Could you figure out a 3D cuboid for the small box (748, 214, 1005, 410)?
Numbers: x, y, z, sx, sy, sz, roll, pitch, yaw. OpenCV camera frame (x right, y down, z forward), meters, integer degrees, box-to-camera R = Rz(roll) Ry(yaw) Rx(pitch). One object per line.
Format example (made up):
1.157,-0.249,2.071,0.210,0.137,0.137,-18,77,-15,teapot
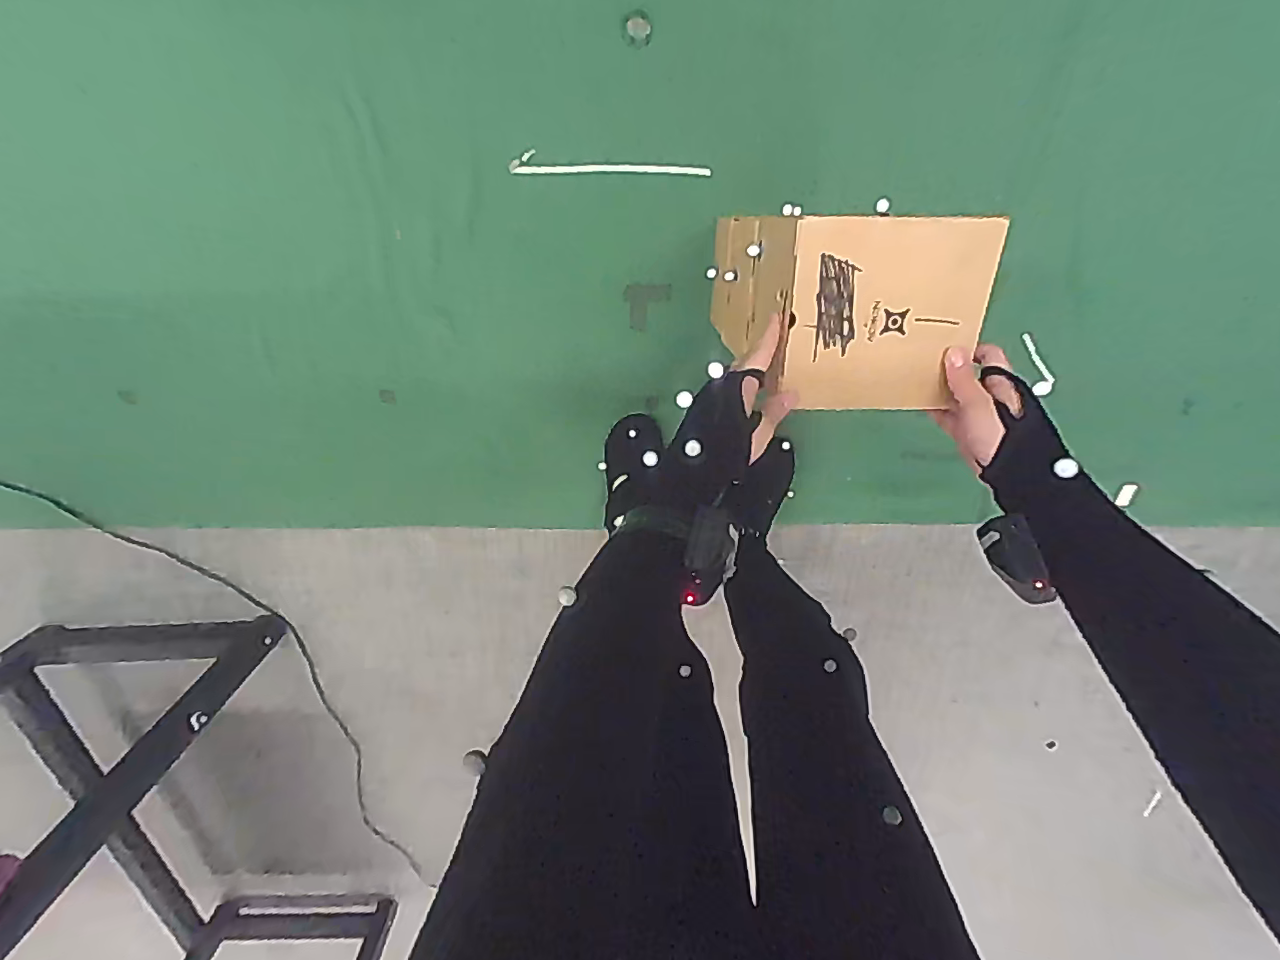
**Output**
0.214,-0.176,0.550,0.179,0.176,0.168,0,116,-1,small box

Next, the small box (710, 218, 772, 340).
0.212,-0.315,0.845,0.179,0.176,0.168,1,115,-1,small box

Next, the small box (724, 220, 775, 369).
0.212,-0.243,0.699,0.179,0.176,0.168,1,115,0,small box
